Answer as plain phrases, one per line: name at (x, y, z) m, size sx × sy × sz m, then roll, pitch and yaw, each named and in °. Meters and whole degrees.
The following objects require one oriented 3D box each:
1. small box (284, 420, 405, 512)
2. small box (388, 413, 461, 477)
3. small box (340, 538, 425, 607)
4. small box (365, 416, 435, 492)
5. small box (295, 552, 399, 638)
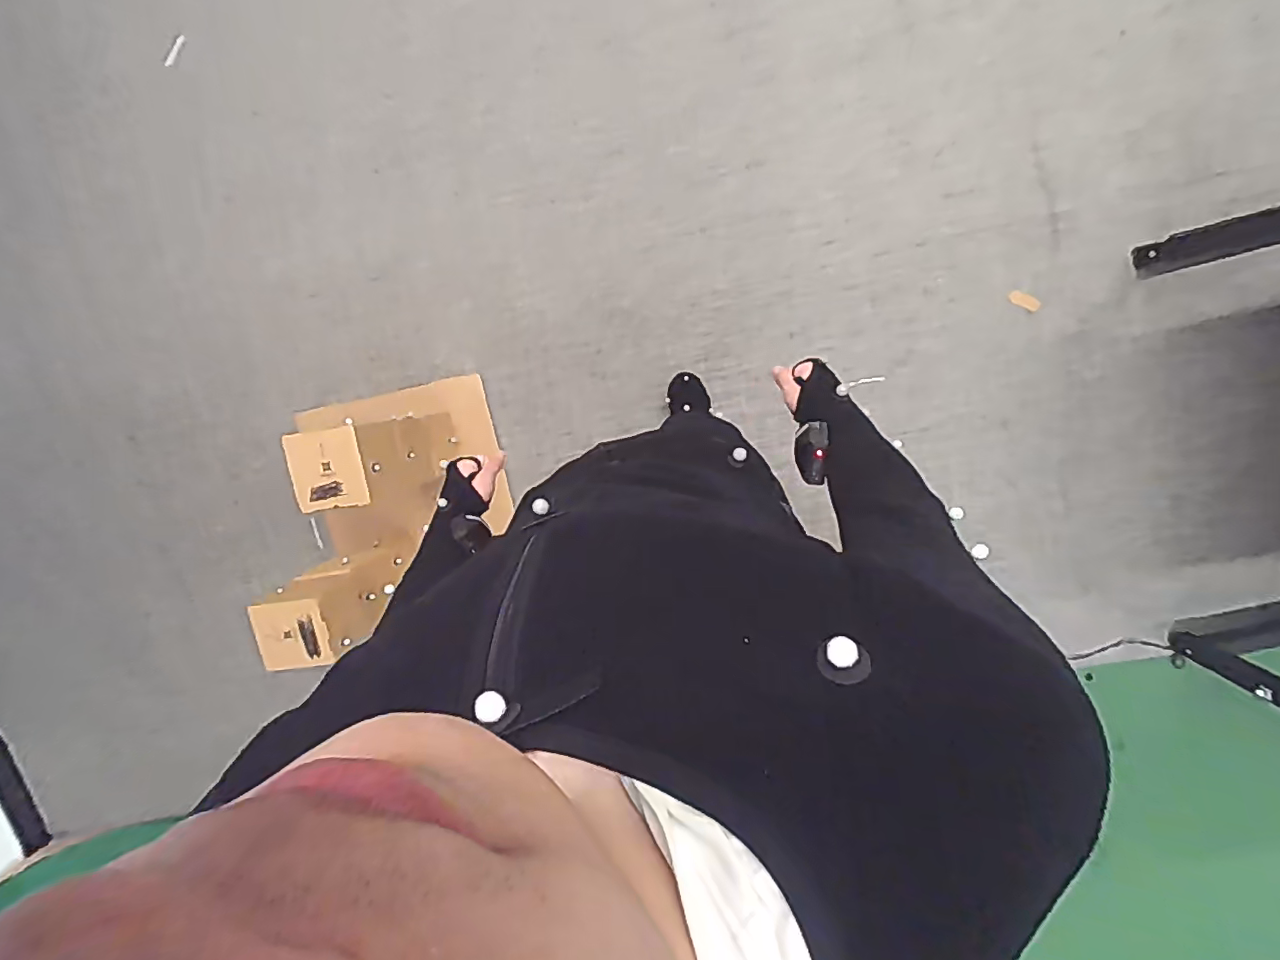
small box at (-0.669, -0.037, 1.248) m, size 0.168 × 0.176 × 0.179 m, roll -7°, pitch 100°, yaw 4°
small box at (-0.643, -0.098, 1.569) m, size 0.168 × 0.176 × 0.179 m, roll -8°, pitch 100°, yaw 6°
small box at (-0.786, 0.283, 1.648) m, size 0.168 × 0.176 × 0.179 m, roll -10°, pitch 100°, yaw 6°
small box at (-0.657, -0.066, 1.409) m, size 0.168 × 0.176 × 0.179 m, roll -6°, pitch 100°, yaw 4°
small box at (-0.797, 0.307, 1.489) m, size 0.168 × 0.176 × 0.179 m, roll -10°, pitch 101°, yaw 5°
